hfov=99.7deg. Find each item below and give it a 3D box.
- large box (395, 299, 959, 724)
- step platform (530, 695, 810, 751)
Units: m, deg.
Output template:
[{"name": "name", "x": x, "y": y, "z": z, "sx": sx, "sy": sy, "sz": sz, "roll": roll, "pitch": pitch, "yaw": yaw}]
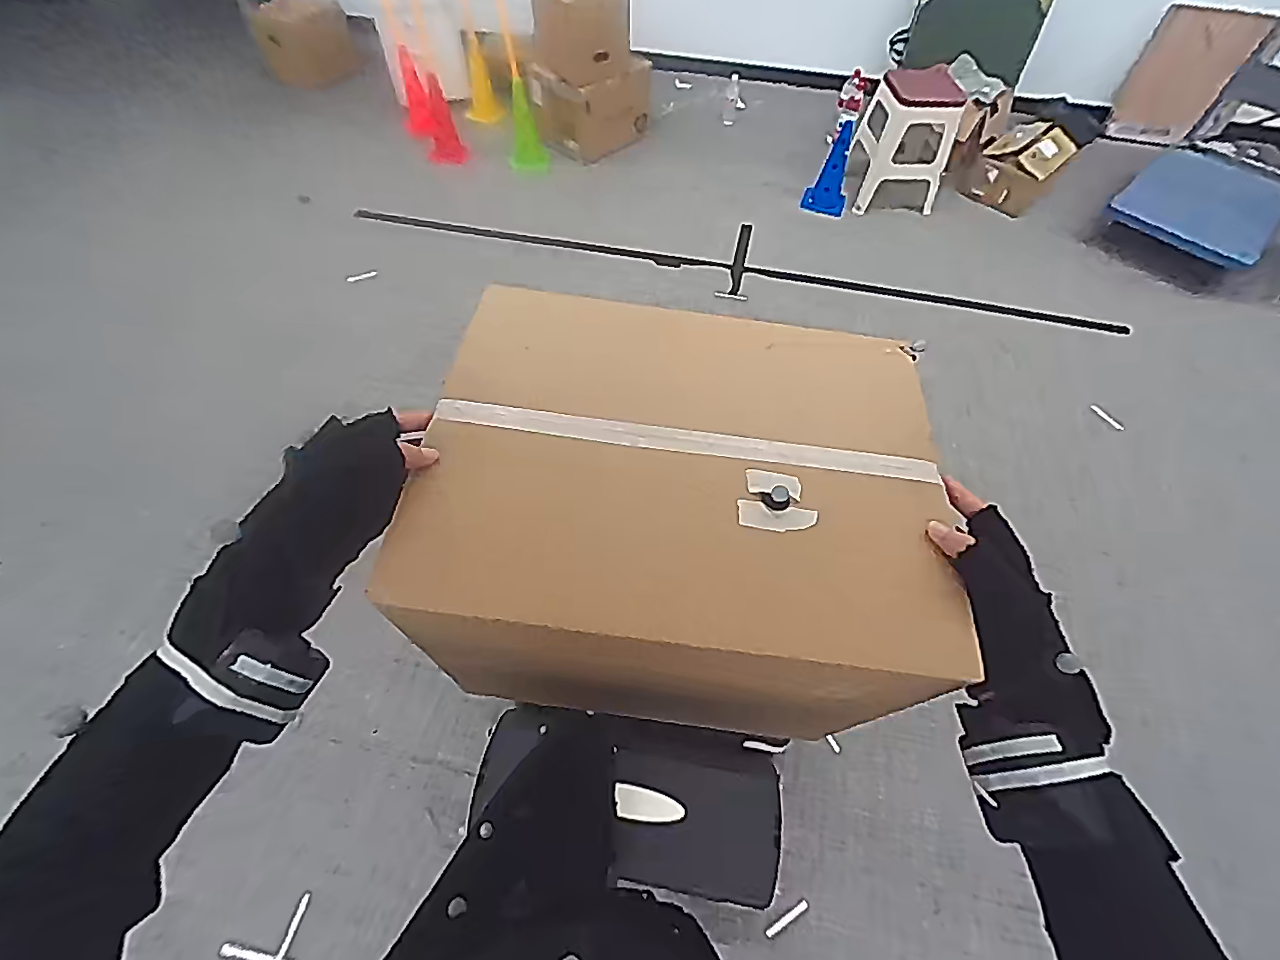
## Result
[{"name": "large box", "x": 0.027, "y": 0.053, "z": 0.575, "sx": 0.408, "sy": 0.320, "sz": 0.320, "roll": 8, "pitch": 58, "yaw": -1}, {"name": "step platform", "x": 0.073, "y": 0.448, "z": 1.329, "sx": 0.684, "sy": 0.204, "sz": 0.286, "roll": 10, "pitch": 57, "yaw": 3}]
